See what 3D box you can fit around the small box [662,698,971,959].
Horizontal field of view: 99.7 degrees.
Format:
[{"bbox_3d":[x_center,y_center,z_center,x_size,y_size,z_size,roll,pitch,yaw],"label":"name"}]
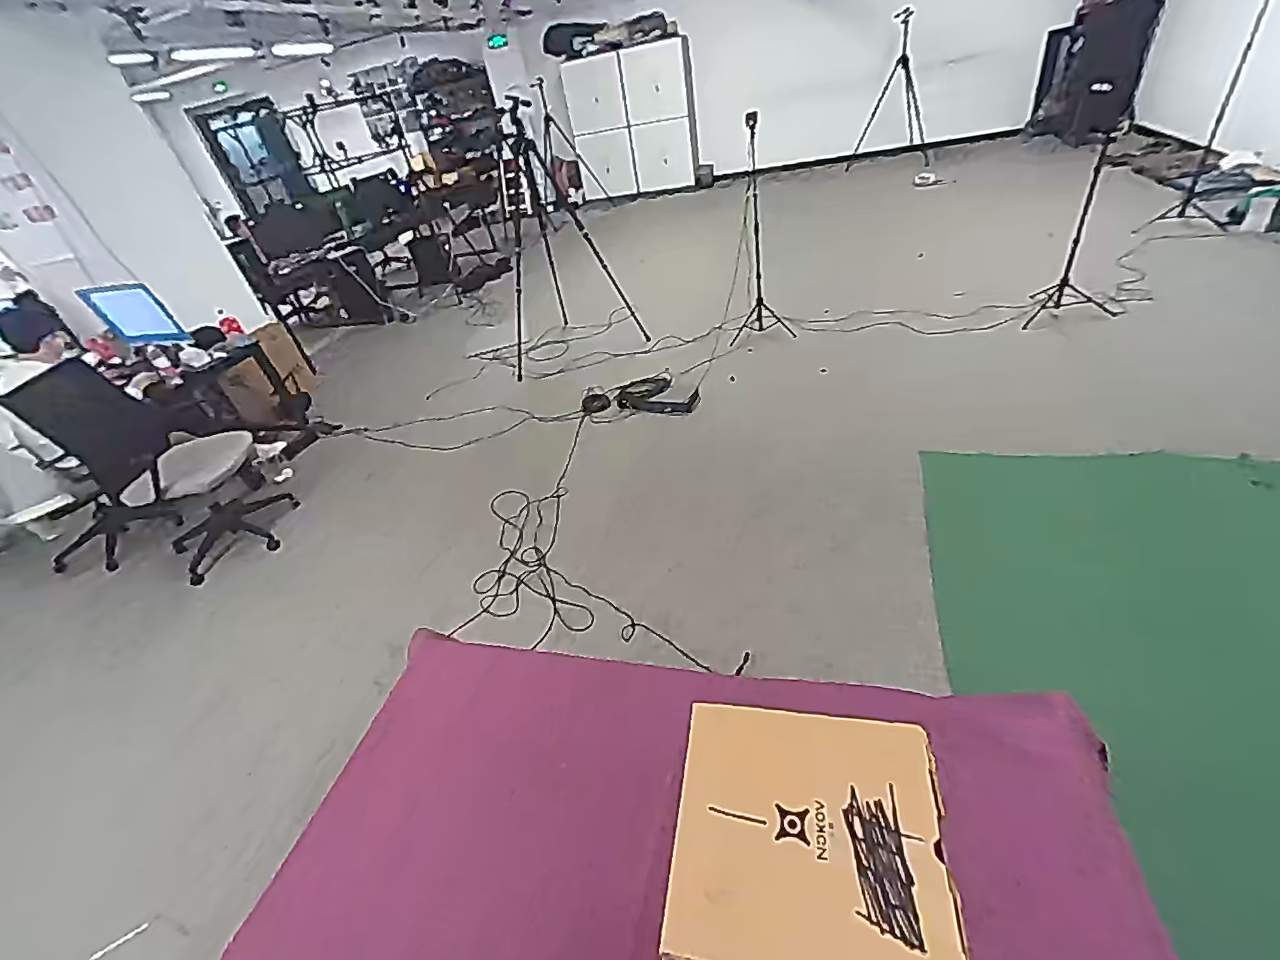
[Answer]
[{"bbox_3d":[0.126,0.295,0.413,0.179,0.176,0.168,1,40,16],"label":"small box"}]
